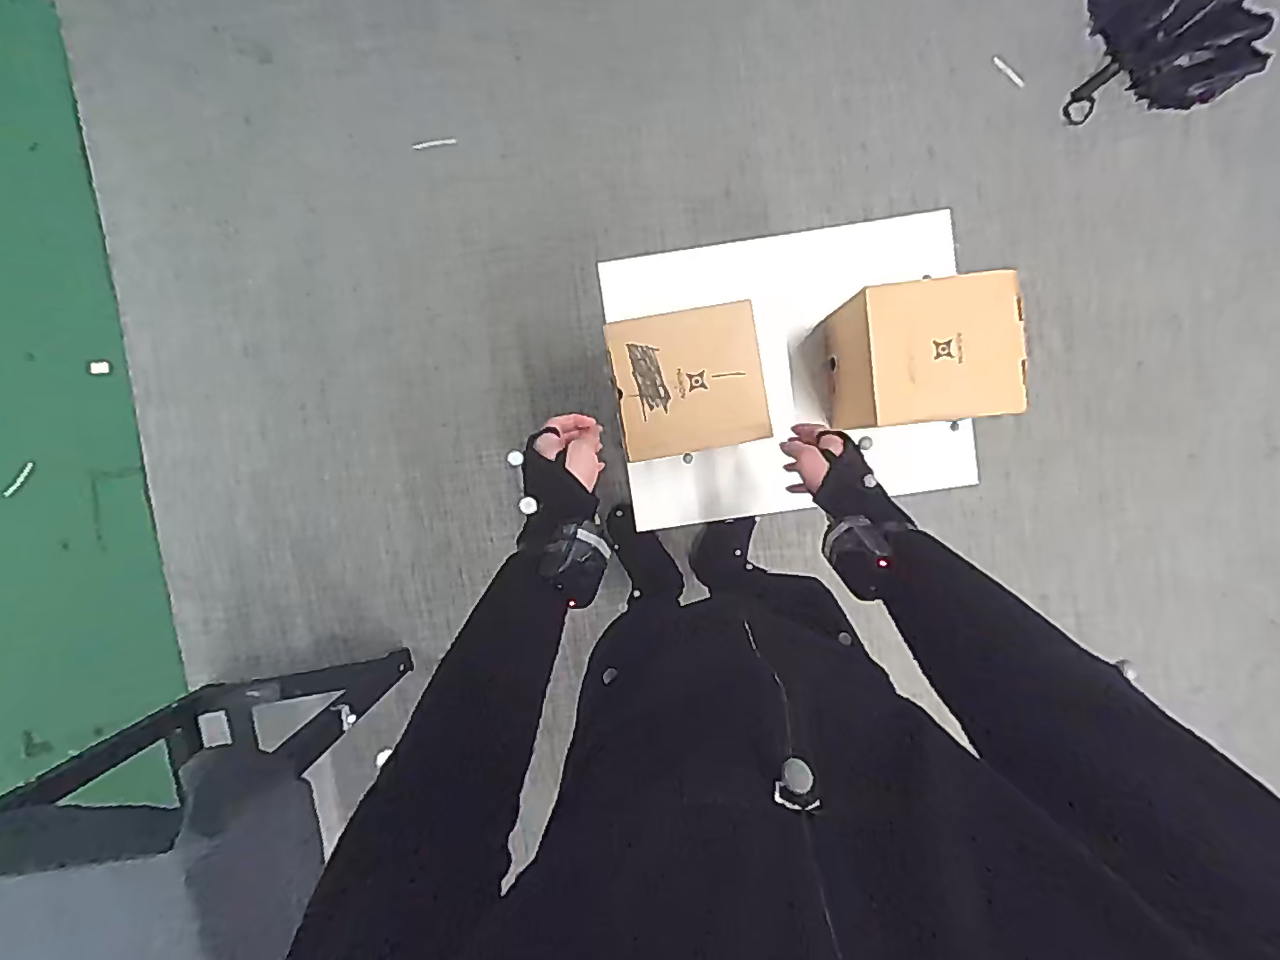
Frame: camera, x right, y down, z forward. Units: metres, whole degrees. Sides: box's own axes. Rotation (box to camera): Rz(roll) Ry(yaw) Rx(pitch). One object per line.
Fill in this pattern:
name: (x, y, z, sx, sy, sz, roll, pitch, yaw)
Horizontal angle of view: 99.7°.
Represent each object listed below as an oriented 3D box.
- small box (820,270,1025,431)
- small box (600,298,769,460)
small box: (0.349, -0.154, 0.695, 0.179, 0.176, 0.168, -6, 93, 3)
small box: (0.052, -0.118, 0.700, 0.179, 0.176, 0.168, -10, 94, 0)
